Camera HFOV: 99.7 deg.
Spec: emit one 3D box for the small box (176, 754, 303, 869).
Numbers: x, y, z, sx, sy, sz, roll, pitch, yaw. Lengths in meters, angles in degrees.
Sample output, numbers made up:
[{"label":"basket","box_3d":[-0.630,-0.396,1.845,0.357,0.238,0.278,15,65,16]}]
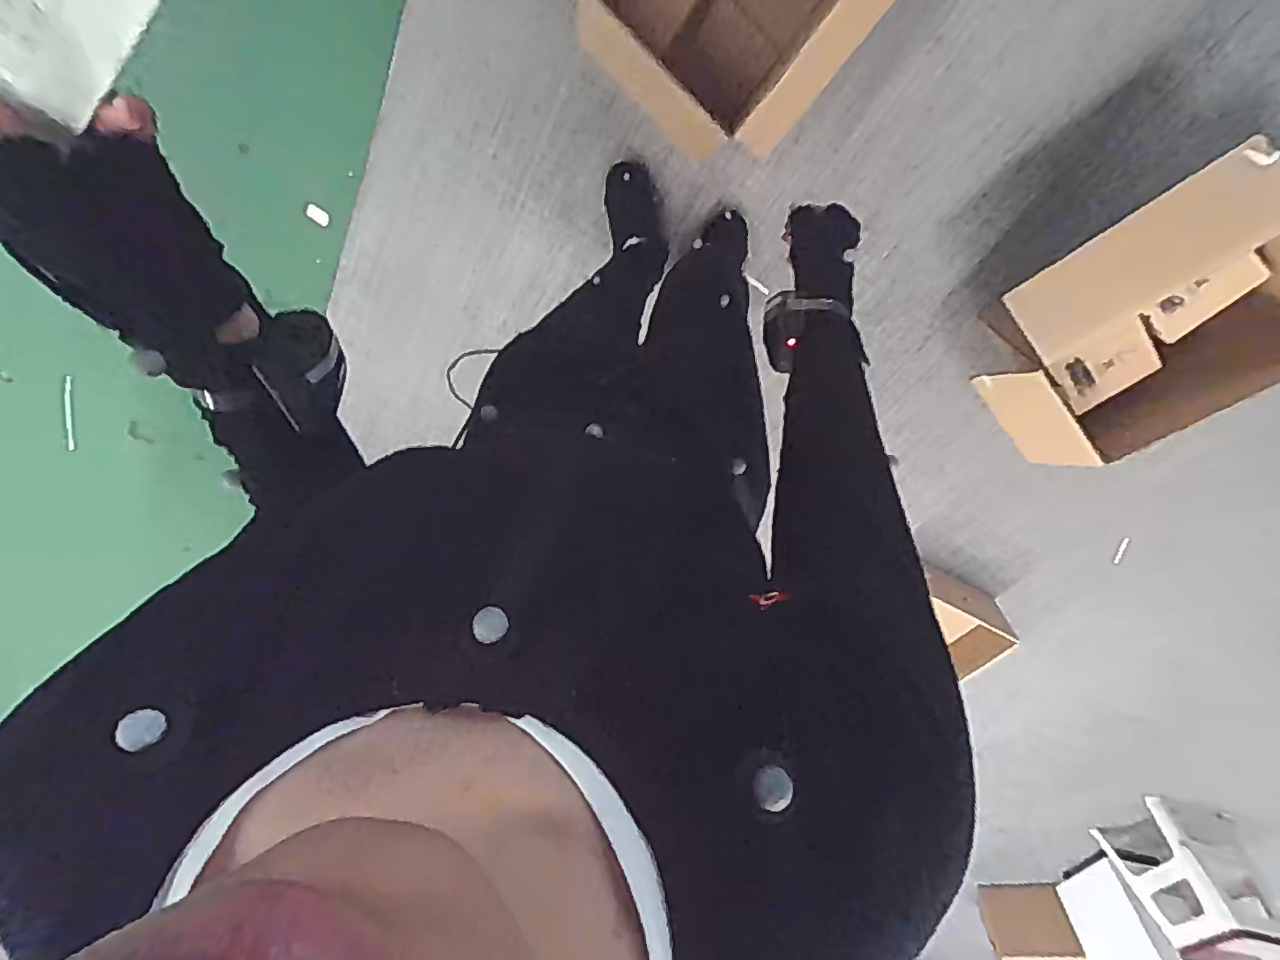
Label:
[{"label":"small box","box_3d":[-0.951,0.793,1.300,0.168,0.176,0.179,35,120,-18]}]
